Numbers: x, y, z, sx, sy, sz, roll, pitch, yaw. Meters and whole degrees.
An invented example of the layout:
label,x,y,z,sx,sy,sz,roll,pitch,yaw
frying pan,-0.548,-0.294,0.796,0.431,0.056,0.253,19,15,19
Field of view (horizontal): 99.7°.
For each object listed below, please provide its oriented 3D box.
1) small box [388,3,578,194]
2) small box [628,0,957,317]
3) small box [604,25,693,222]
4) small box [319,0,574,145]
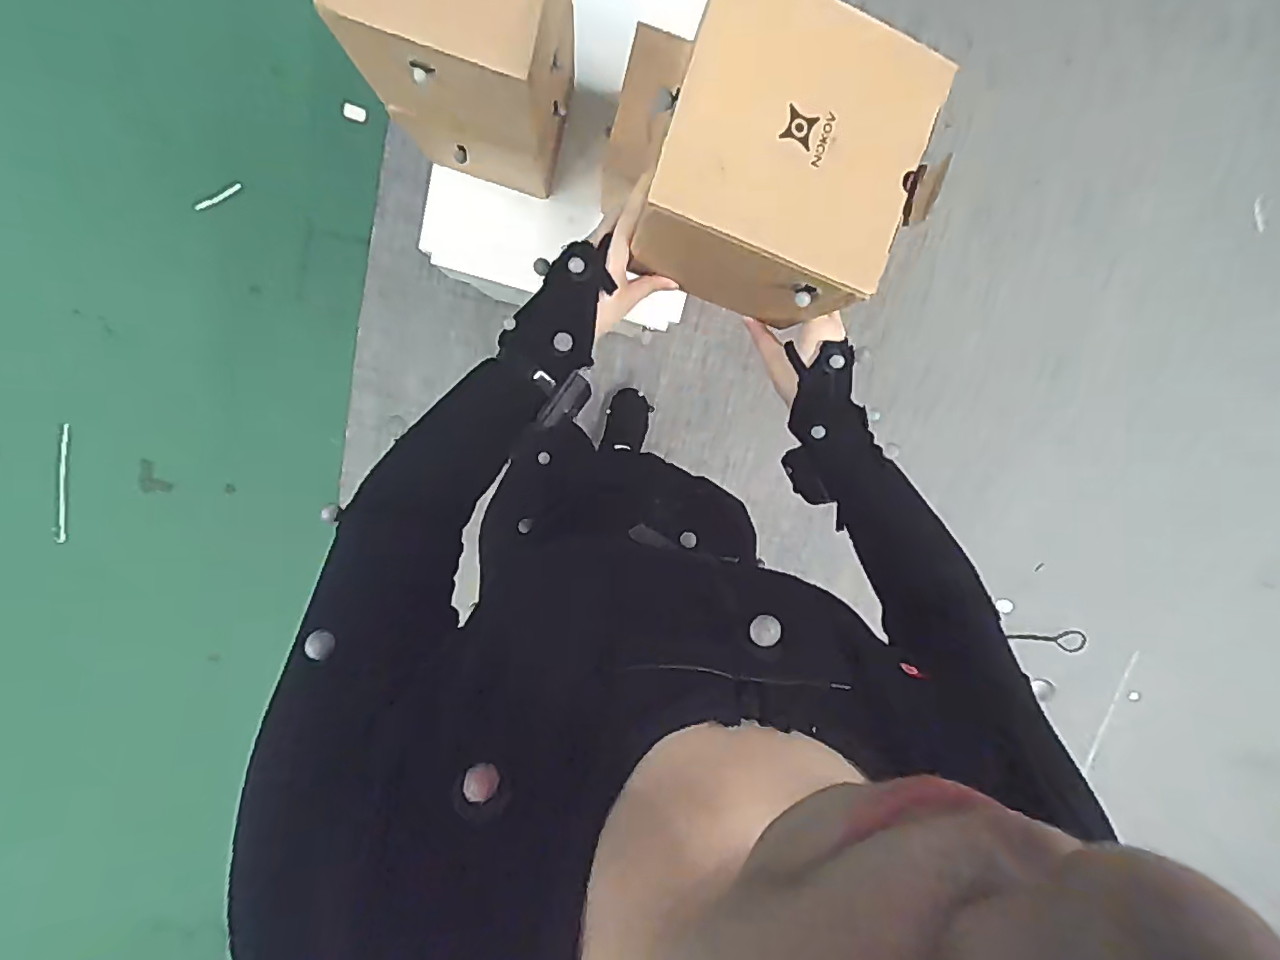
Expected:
label,x,y,z,sx,sy,sz,roll,pitch,yaw
small box,-0.181,-0.482,0.668,0.179,0.176,0.168,14,101,-9
small box,0.099,-0.245,0.437,0.179,0.176,0.168,17,95,-11
small box,0.056,-0.428,0.705,0.179,0.176,0.168,14,99,-6
small box,-0.163,-0.450,0.507,0.179,0.176,0.168,13,101,-10
